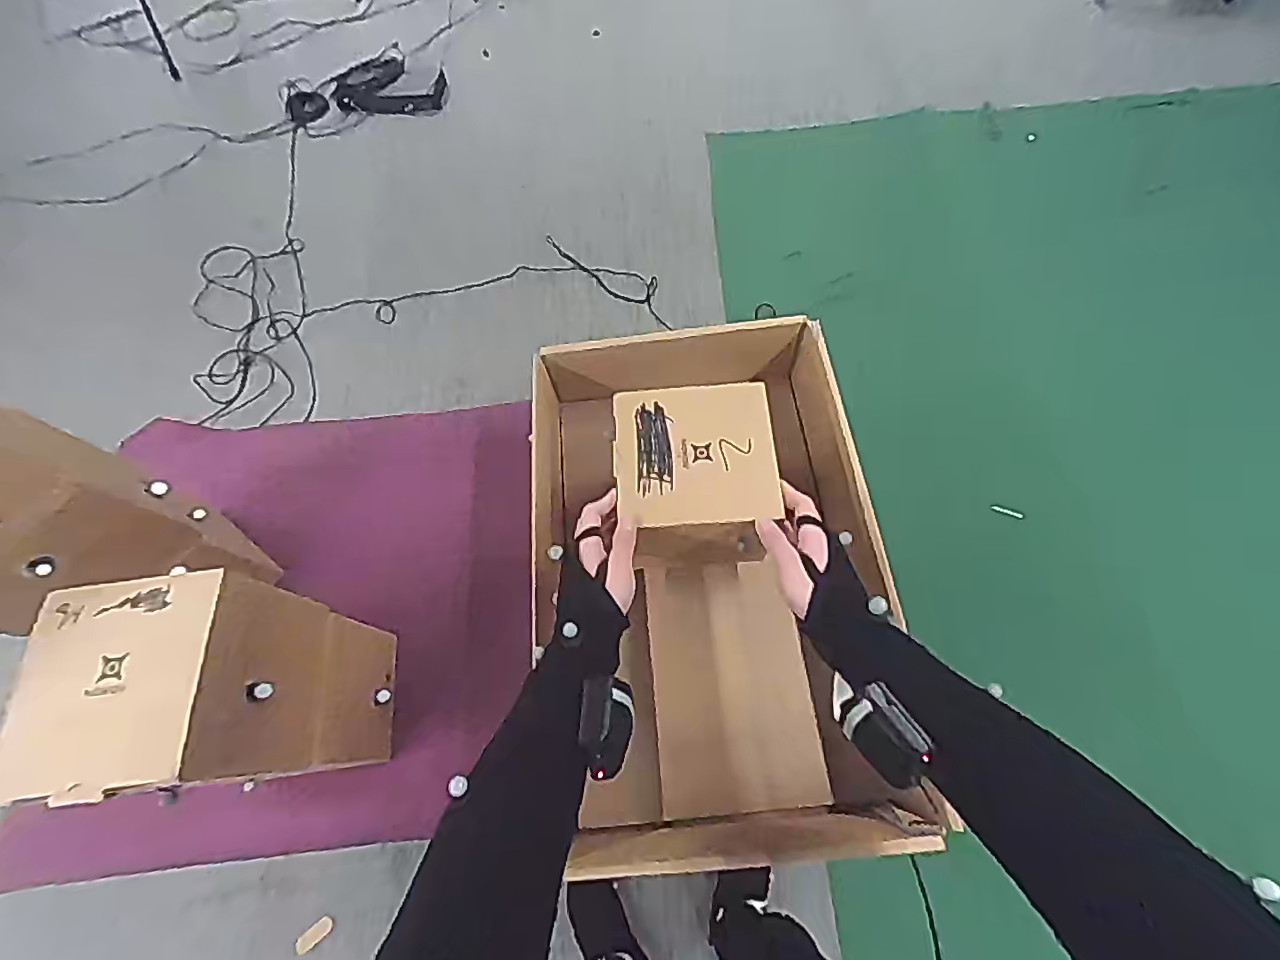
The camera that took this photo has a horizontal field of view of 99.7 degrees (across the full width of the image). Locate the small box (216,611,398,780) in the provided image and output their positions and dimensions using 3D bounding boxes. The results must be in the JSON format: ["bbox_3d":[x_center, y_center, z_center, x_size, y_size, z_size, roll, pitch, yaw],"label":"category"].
[{"bbox_3d":[-0.430,0.272,0.673,0.179,0.176,0.168,-8,65,-1],"label":"small box"}]

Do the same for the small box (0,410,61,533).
[{"bbox_3d":[-0.679,-0.014,0.459,0.179,0.176,0.168,33,72,15],"label":"small box"}]

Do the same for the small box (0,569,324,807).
[{"bbox_3d":[-0.441,0.199,0.527,0.168,0.176,0.179,-7,65,0],"label":"small box"}]

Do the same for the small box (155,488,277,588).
[{"bbox_3d":[-0.664,0.121,0.754,0.179,0.176,0.168,34,72,16],"label":"small box"}]

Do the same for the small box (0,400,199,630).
[{"bbox_3d":[-0.667,0.052,0.607,0.168,0.176,0.179,35,72,15],"label":"small box"}]
